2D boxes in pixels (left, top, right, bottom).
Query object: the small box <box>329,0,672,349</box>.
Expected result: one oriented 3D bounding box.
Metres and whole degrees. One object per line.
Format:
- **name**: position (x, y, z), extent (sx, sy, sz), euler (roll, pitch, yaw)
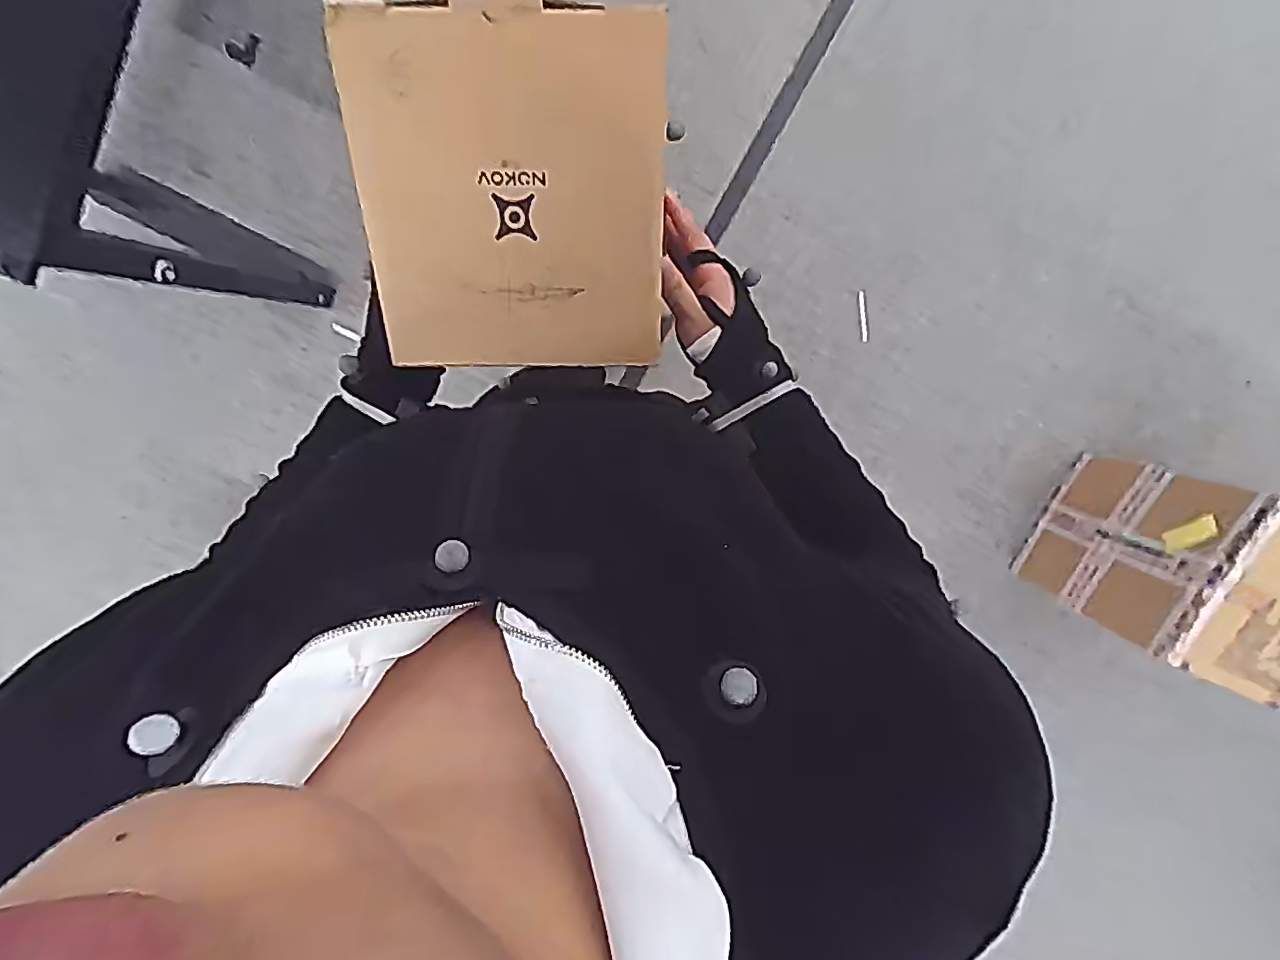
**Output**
- **small box**: position (-0.069, -0.194, 0.364), extent (0.168, 0.176, 0.179), euler (0, 118, 0)
